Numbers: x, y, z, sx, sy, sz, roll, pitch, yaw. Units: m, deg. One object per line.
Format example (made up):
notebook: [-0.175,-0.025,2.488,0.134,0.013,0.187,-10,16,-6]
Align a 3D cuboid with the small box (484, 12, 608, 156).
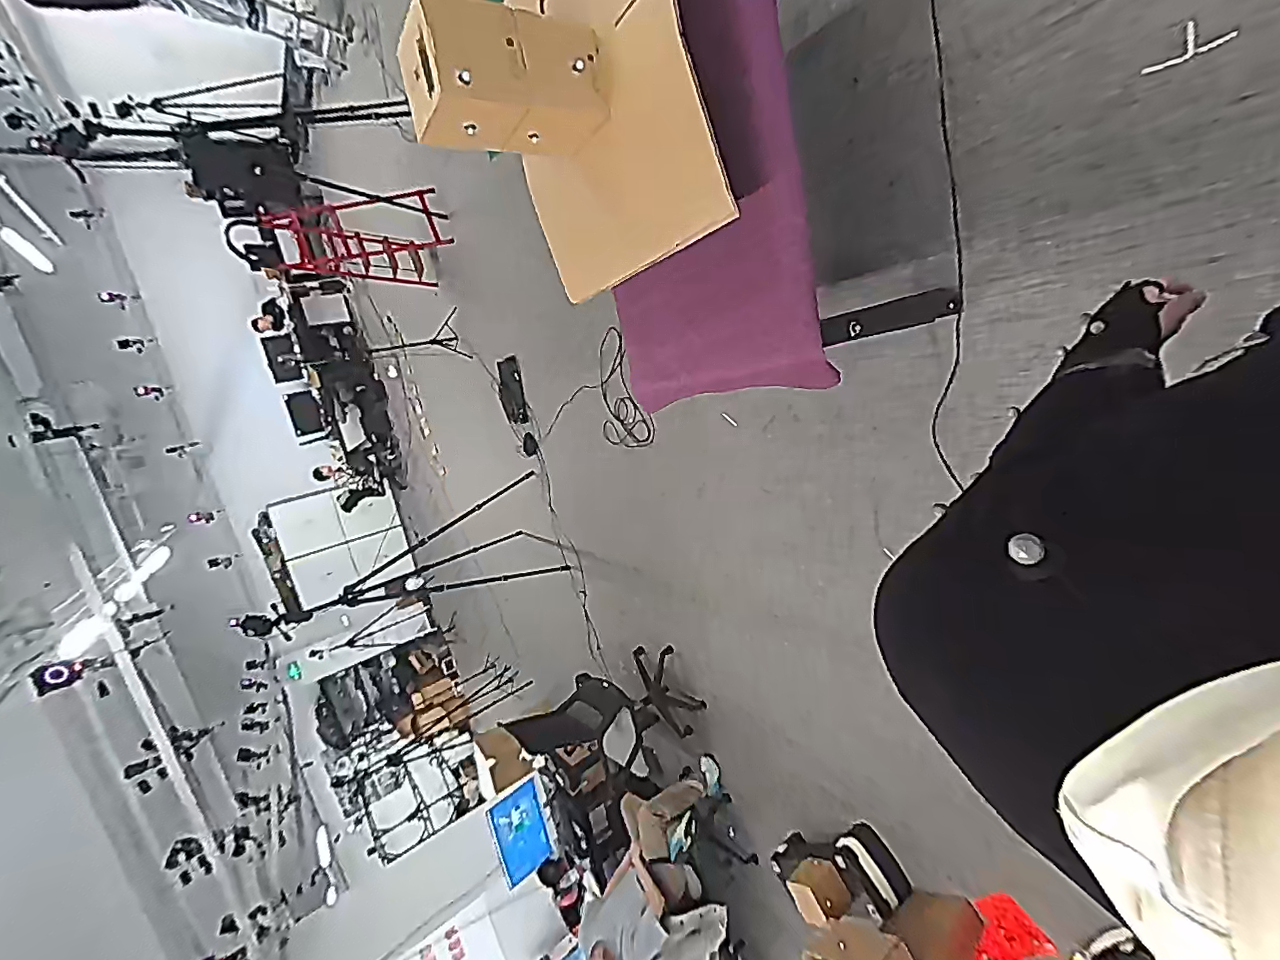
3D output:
small box: [-0.187,-0.774,1.082,0.179,0.176,0.168,1,106,55]
